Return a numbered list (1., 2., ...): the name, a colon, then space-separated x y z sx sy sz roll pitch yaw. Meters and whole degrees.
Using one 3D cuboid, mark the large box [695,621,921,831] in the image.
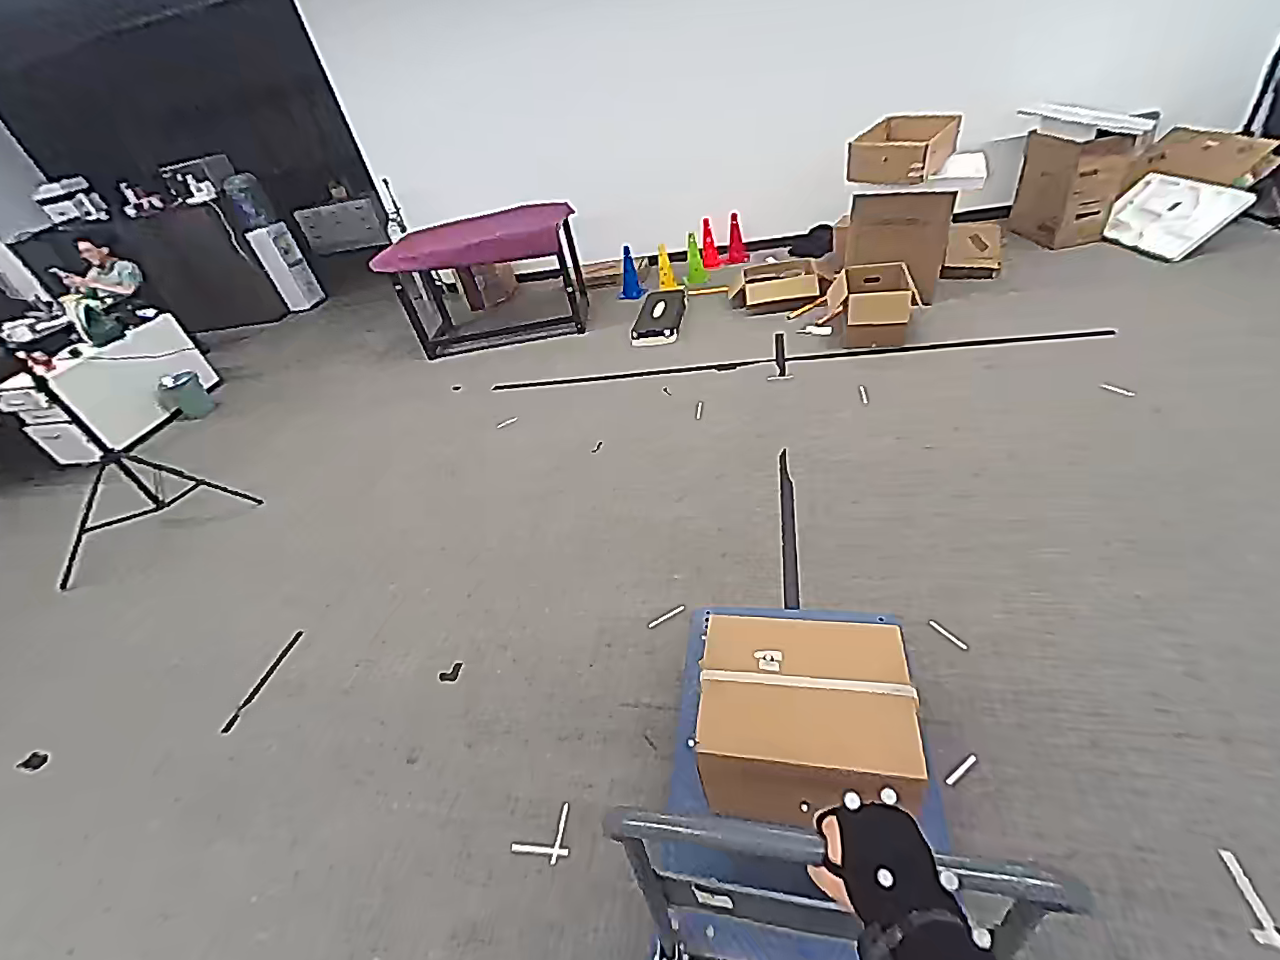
1. large box: 0.352 0.531 1.188 0.408 0.320 0.320 -2 39 15
